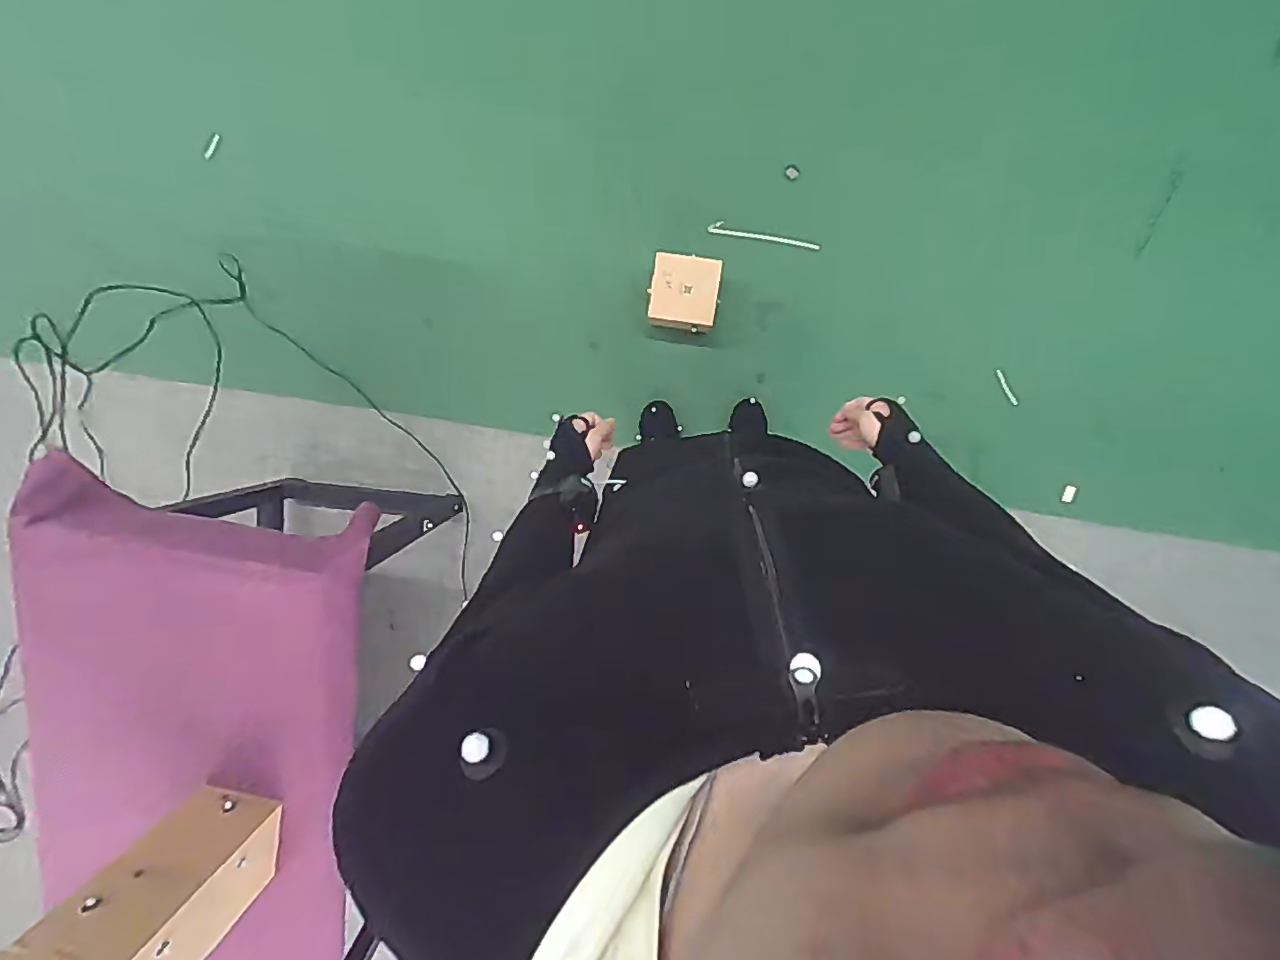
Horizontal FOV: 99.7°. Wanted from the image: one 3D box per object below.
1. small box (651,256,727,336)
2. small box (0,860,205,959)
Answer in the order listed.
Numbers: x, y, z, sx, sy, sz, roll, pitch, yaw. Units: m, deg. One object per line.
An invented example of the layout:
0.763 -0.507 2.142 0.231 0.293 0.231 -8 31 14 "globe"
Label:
0.131 -0.495 1.477 0.179 0.176 0.168 9 99 2 "small box"
-0.819 0.738 0.833 0.168 0.176 0.179 13 99 2 "small box"
